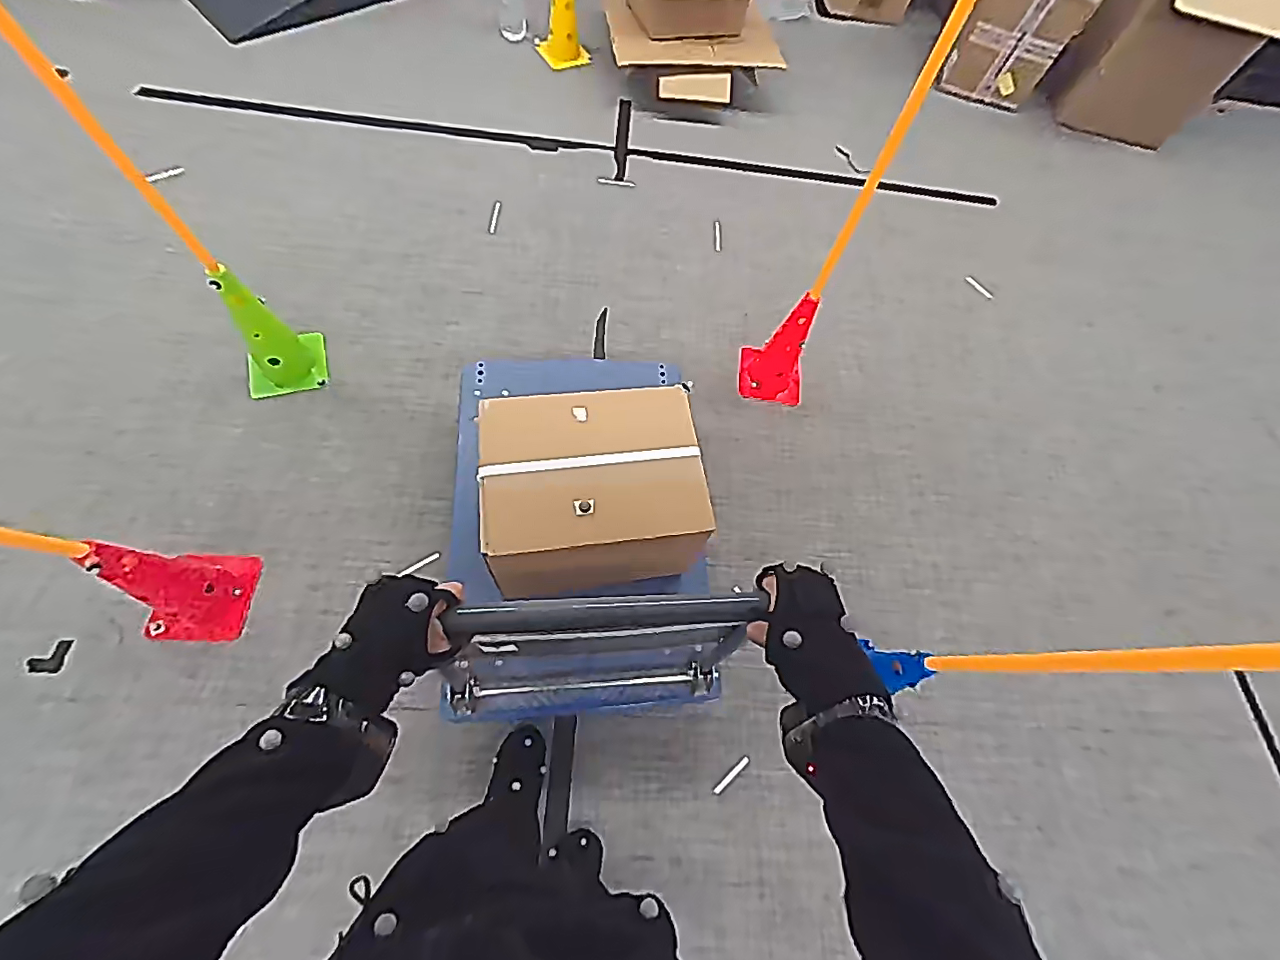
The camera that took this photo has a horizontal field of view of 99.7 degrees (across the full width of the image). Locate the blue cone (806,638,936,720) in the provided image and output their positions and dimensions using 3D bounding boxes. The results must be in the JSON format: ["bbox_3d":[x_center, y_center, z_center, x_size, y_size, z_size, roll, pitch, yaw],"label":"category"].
[{"bbox_3d":[0.539,0.424,1.208,0.193,0.380,0.192,1,64,-7],"label":"blue cone"}]

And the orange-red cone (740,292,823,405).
[{"bbox_3d":[0.443,-0.406,1.571,0.199,0.360,0.198,11,65,-3],"label":"orange-red cone"}]
